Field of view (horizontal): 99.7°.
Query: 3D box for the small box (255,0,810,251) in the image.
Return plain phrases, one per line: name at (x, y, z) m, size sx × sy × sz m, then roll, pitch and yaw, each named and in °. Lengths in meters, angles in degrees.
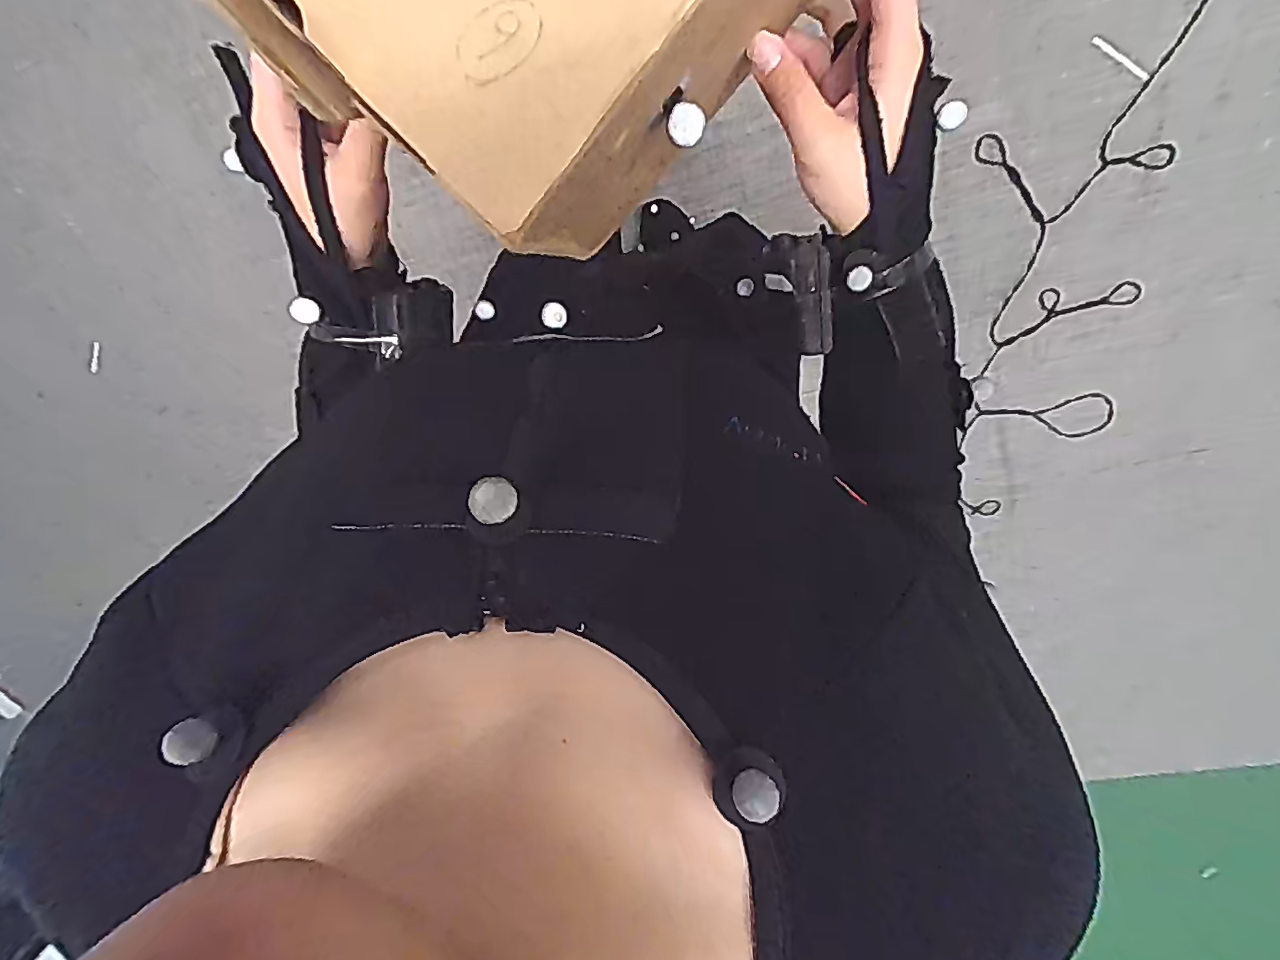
small box at (-0.031, -0.213, 0.213) m, size 0.168 × 0.176 × 0.179 m, roll 43°, pitch 108°, yaw -12°
